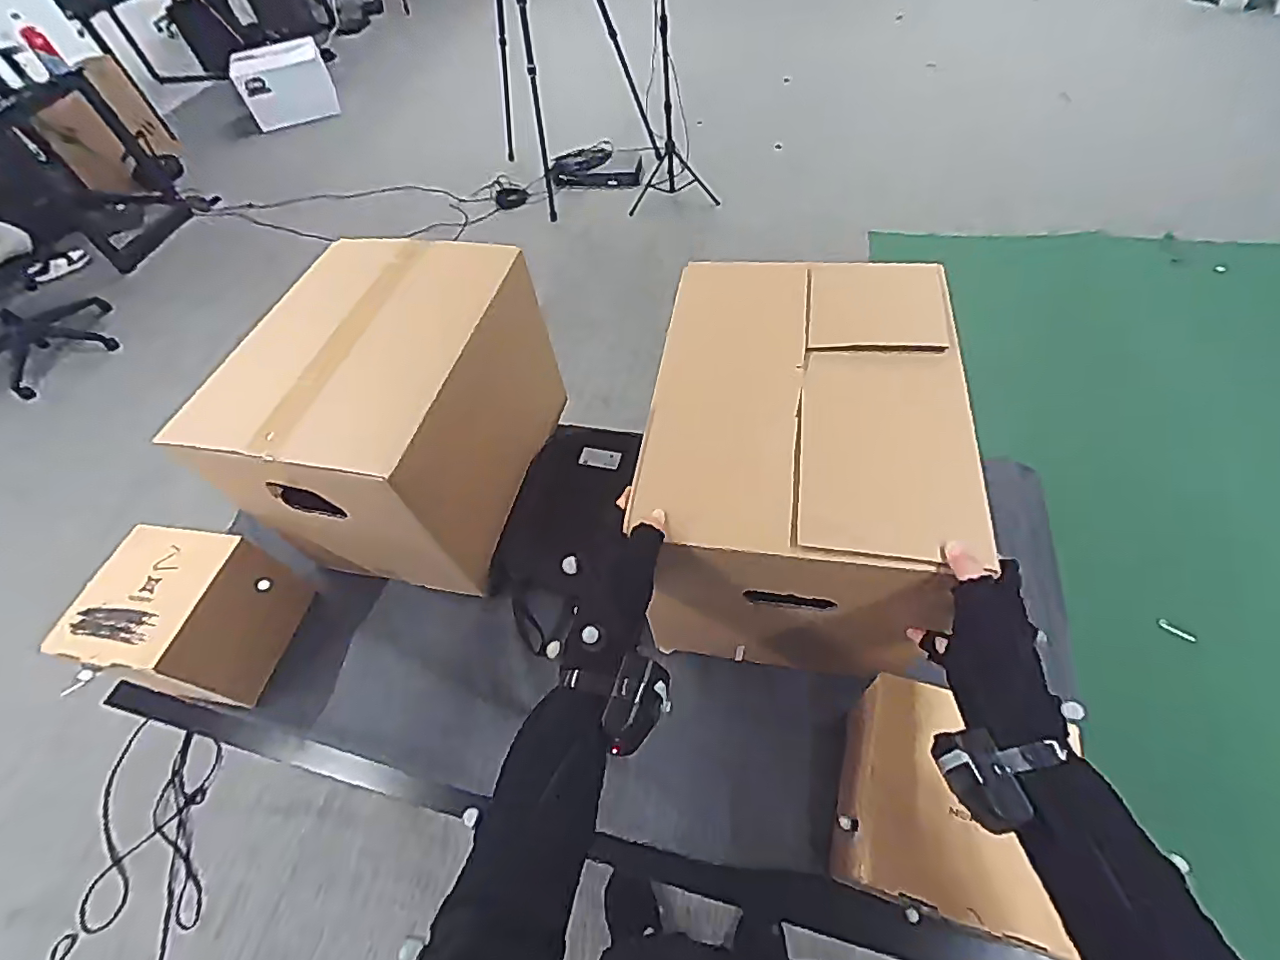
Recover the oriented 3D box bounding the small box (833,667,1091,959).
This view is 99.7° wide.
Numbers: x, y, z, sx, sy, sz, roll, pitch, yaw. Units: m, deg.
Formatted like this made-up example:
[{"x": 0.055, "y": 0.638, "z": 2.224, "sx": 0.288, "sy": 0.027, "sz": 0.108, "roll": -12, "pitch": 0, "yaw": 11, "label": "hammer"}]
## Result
[{"x": 0.294, "y": 0.311, "z": 0.527, "sx": 0.168, "sy": 0.176, "sz": 0.179, "roll": 12, "pitch": 60, "yaw": 17, "label": "small box"}]
